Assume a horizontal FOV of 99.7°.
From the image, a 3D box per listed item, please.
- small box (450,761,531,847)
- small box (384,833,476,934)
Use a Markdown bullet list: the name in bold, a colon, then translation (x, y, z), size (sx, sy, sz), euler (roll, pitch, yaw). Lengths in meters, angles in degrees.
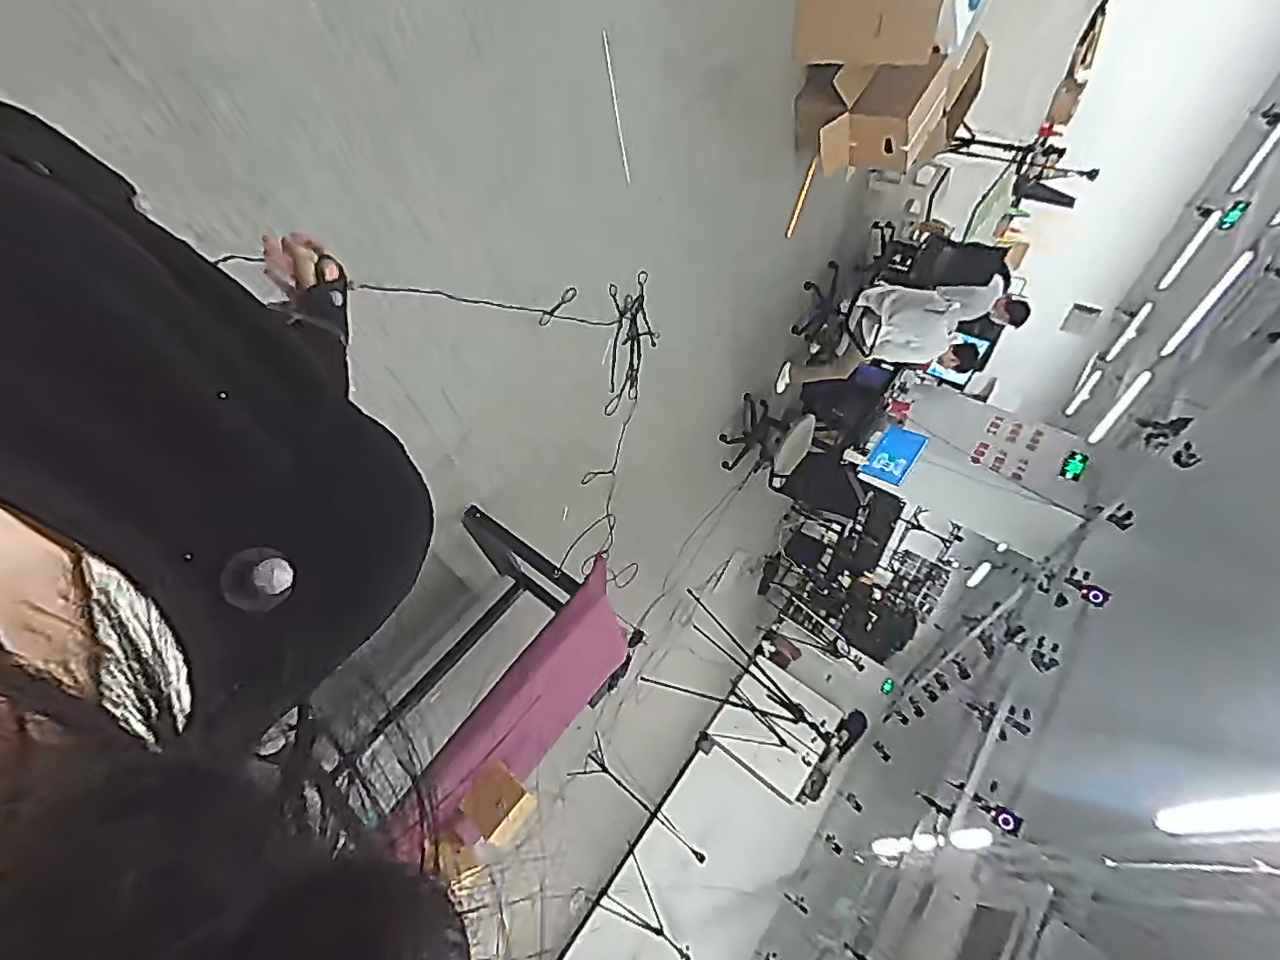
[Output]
- **small box**: translation (-0.501, 1.083, 1.815), size (0.179, 0.176, 0.168), euler (-45, 150, -28)
- **small box**: translation (-0.662, 1.247, 1.696), size (0.179, 0.176, 0.168), euler (-57, 154, -6)
